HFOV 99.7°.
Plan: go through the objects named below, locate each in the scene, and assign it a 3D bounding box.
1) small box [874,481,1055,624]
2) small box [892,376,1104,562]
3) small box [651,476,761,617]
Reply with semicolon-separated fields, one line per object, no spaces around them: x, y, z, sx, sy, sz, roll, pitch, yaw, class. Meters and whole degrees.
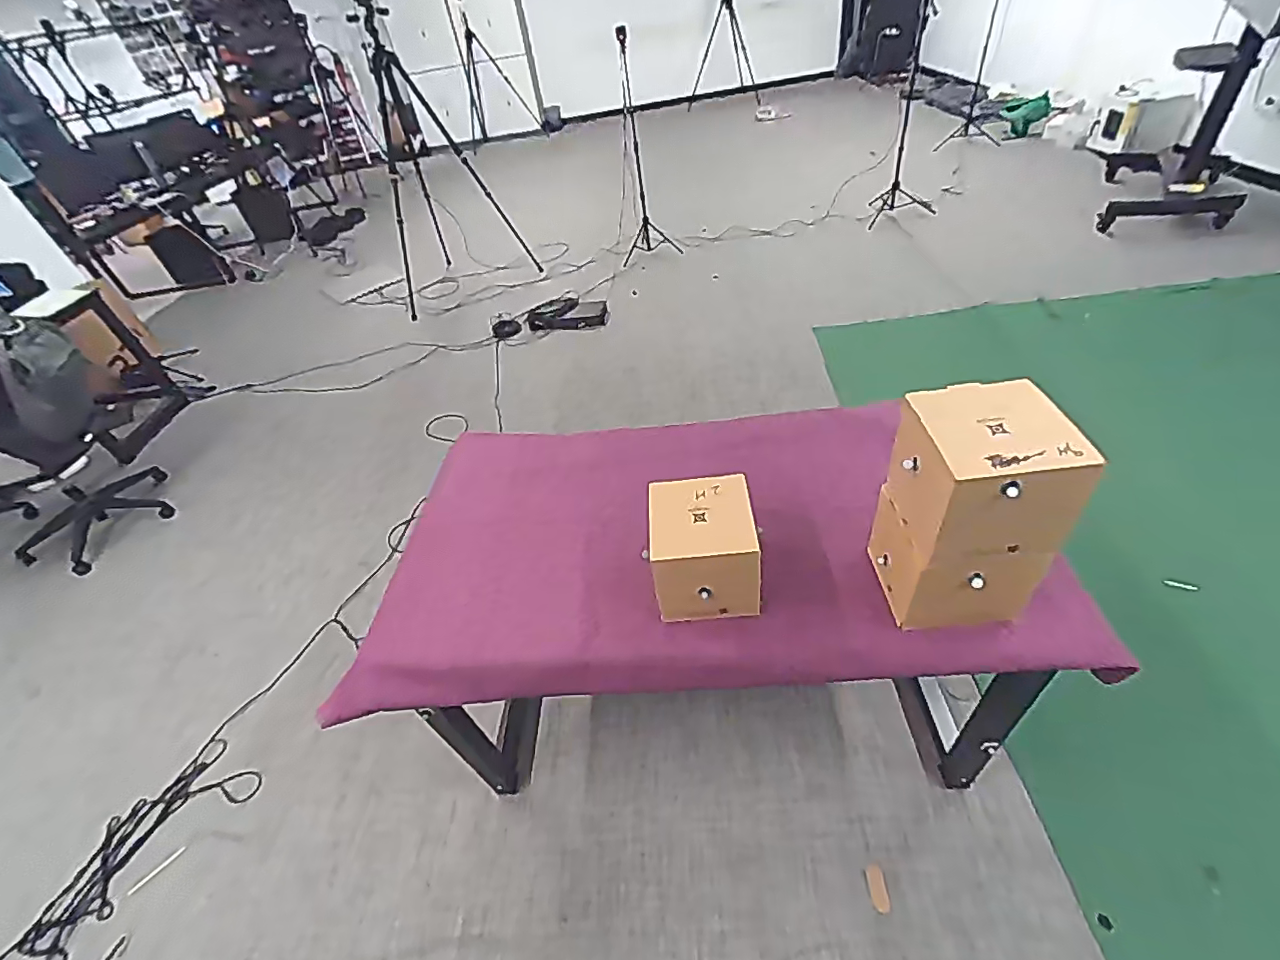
0.485;0.106;0.842;0.179;0.176;0.168;-9;43;7;small box
0.458;-0.014;0.732;0.168;0.176;0.179;-9;43;8;small box
0.113;0.118;0.920;0.168;0.176;0.179;-6;42;7;small box
